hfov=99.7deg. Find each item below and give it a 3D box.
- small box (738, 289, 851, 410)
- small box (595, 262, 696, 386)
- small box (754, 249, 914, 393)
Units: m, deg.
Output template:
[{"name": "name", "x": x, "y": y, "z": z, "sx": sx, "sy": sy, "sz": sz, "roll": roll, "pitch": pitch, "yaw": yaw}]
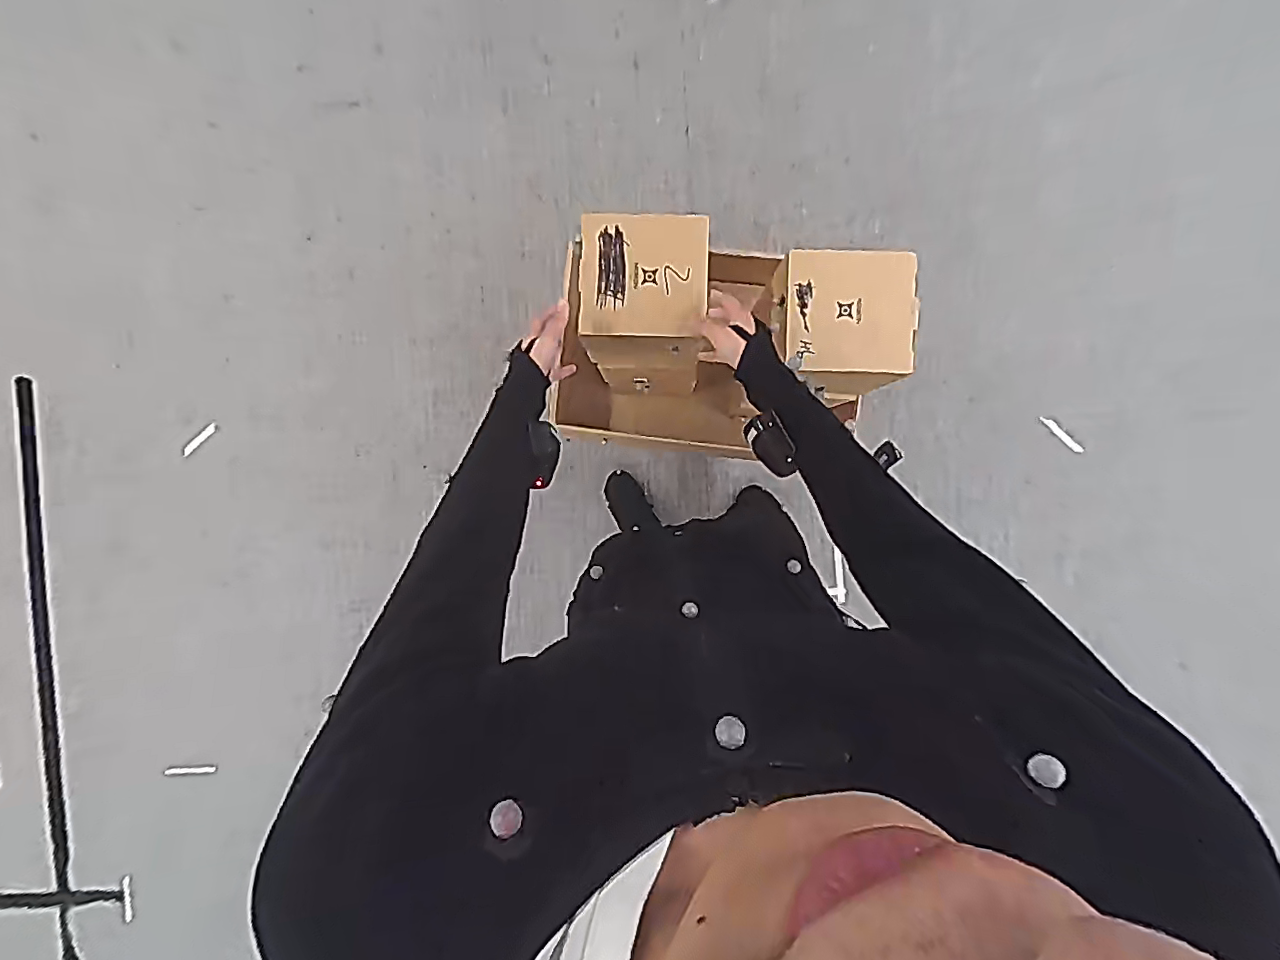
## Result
[{"name": "small box", "x": 0.276, "y": -0.225, "z": 0.973, "sx": 0.168, "sy": 0.176, "sz": 0.179, "roll": 4, "pitch": 90, "yaw": 0}, {"name": "small box", "x": 0.010, "y": -0.272, "z": 0.969, "sx": 0.168, "sy": 0.176, "sz": 0.179, "roll": 1, "pitch": 90, "yaw": 3}, {"name": "small box", "x": 0.279, "y": -0.226, "z": 0.809, "sx": 0.179, "sy": 0.176, "sz": 0.168, "roll": 2, "pitch": 90, "yaw": -1}]
